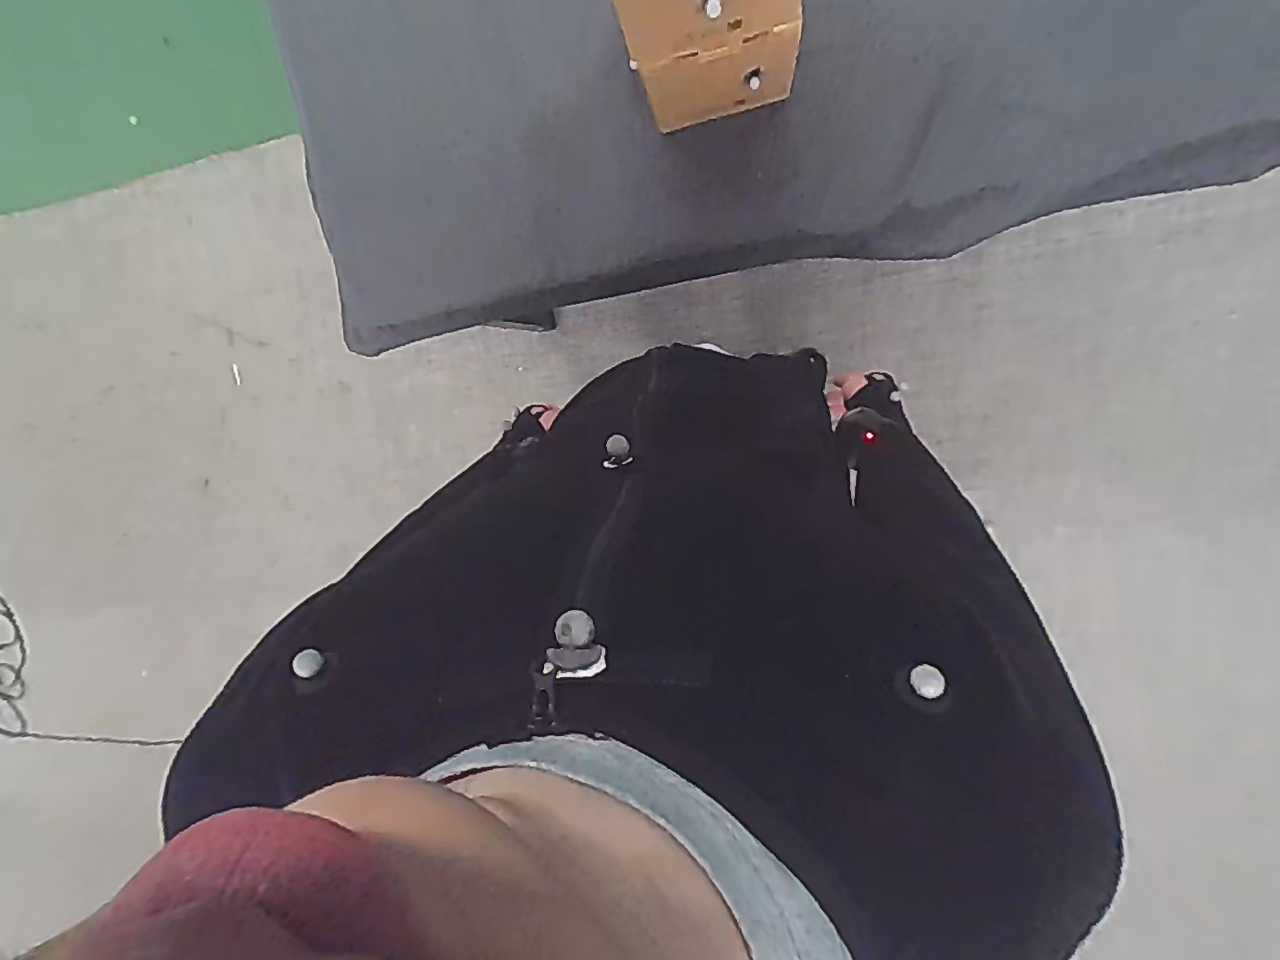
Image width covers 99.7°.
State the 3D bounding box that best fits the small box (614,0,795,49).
[{"bbox_3d":[0.047,-0.497,0.442,0.168,0.176,0.179,-8,103,10],"label":"small box"}]

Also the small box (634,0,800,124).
[{"bbox_3d":[0.076,-0.529,0.601,0.168,0.176,0.179,-9,101,10],"label":"small box"}]
